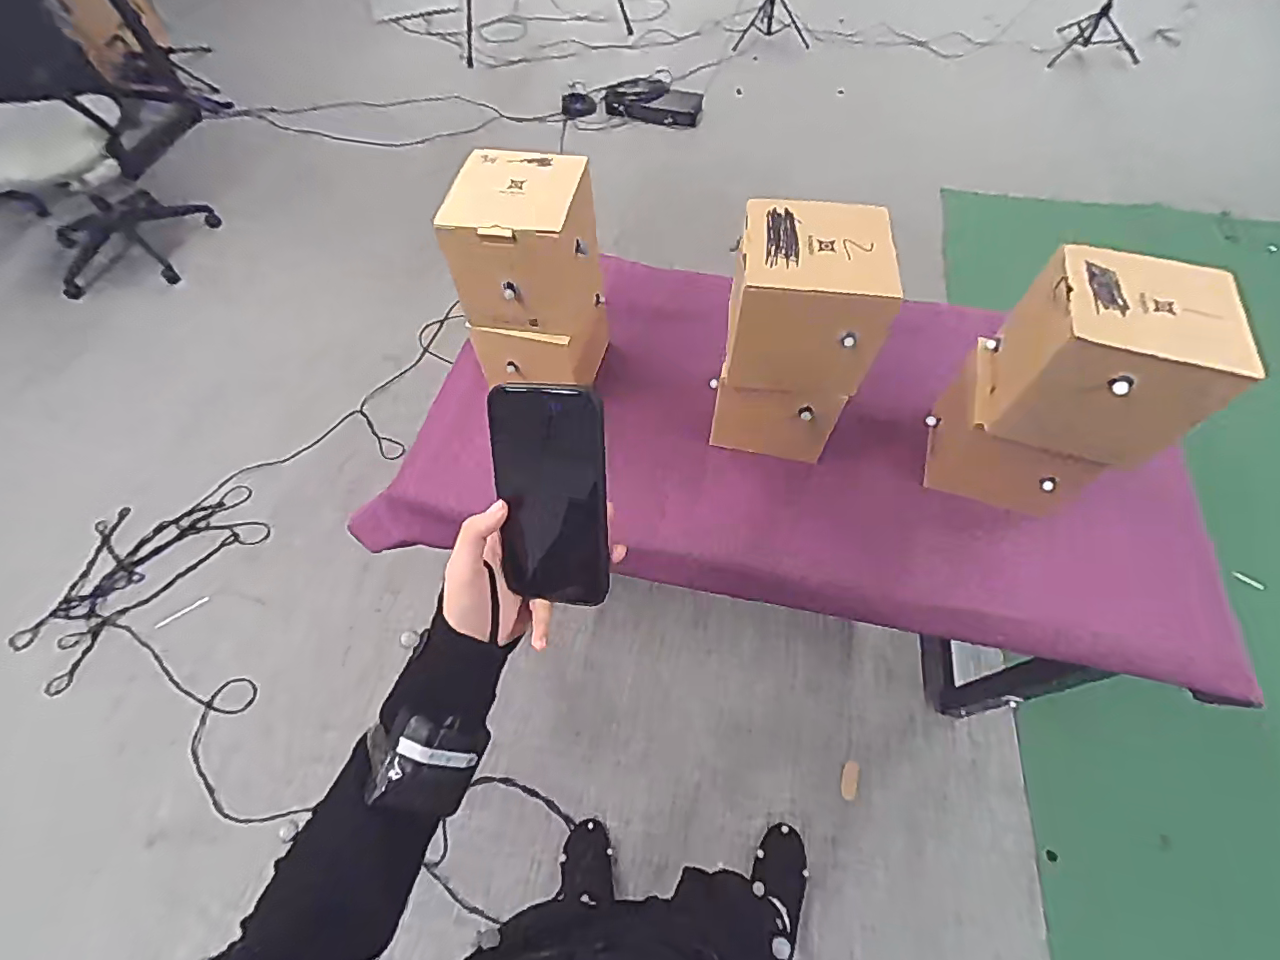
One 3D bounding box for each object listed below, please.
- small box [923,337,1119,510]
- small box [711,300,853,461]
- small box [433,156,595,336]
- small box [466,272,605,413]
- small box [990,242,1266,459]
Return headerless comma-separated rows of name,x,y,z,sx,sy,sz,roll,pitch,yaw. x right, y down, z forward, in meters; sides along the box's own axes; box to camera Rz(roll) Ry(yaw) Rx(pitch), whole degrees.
small box,0.543,-0.075,0.787,0.179,0.176,0.168,16,60,12
small box,0.215,-0.149,0.841,0.179,0.176,0.168,10,59,8
small box,-0.163,-0.328,0.772,0.168,0.176,0.179,7,59,5
small box,-0.160,-0.235,0.908,0.168,0.176,0.179,11,59,8
small box,0.544,-0.146,0.639,0.179,0.176,0.168,16,60,11
